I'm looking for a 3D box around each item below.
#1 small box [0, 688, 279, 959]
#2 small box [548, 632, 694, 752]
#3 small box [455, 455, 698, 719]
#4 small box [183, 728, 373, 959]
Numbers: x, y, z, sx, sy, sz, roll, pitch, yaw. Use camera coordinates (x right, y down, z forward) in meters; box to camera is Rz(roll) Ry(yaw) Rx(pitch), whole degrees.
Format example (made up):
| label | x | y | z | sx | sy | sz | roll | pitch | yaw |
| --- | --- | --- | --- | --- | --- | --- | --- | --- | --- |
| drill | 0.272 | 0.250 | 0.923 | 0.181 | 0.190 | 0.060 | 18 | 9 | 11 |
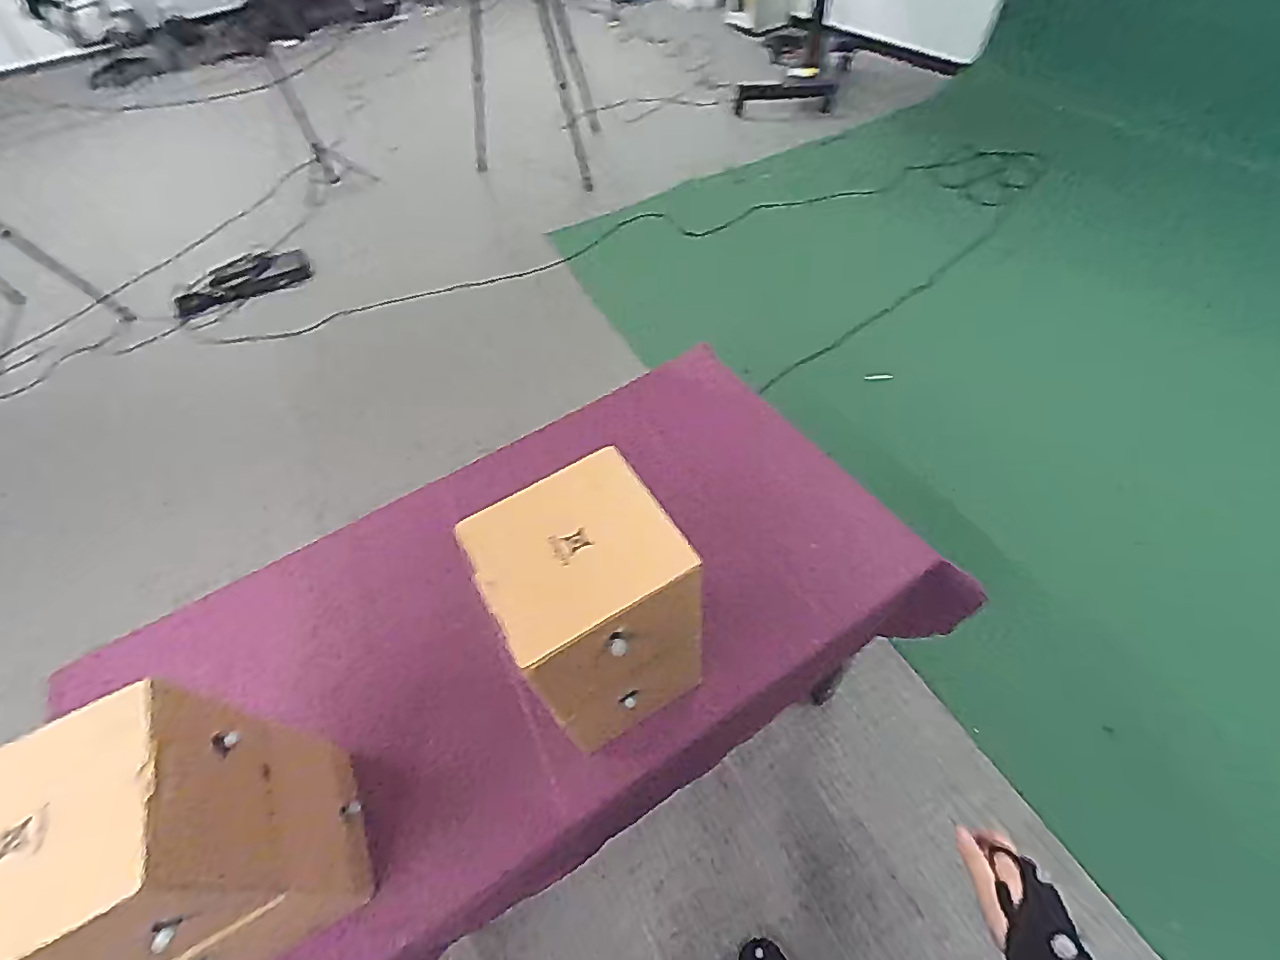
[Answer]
| label | x | y | z | sx | sy | sz | roll | pitch | yaw |
| --- | --- | --- | --- | --- | --- | --- | --- | --- | --- |
| small box | -0.435 | 0.310 | 0.453 | 0.179 | 0.176 | 0.168 | -26 | 54 | -12 |
| small box | -0.043 | 0.212 | 0.684 | 0.179 | 0.176 | 0.168 | -28 | 55 | -14 |
| small box | -0.056 | 0.113 | 0.556 | 0.179 | 0.176 | 0.168 | -29 | 55 | -13 |
| small box | -0.419 | 0.409 | 0.583 | 0.168 | 0.176 | 0.179 | -27 | 54 | -13 |
